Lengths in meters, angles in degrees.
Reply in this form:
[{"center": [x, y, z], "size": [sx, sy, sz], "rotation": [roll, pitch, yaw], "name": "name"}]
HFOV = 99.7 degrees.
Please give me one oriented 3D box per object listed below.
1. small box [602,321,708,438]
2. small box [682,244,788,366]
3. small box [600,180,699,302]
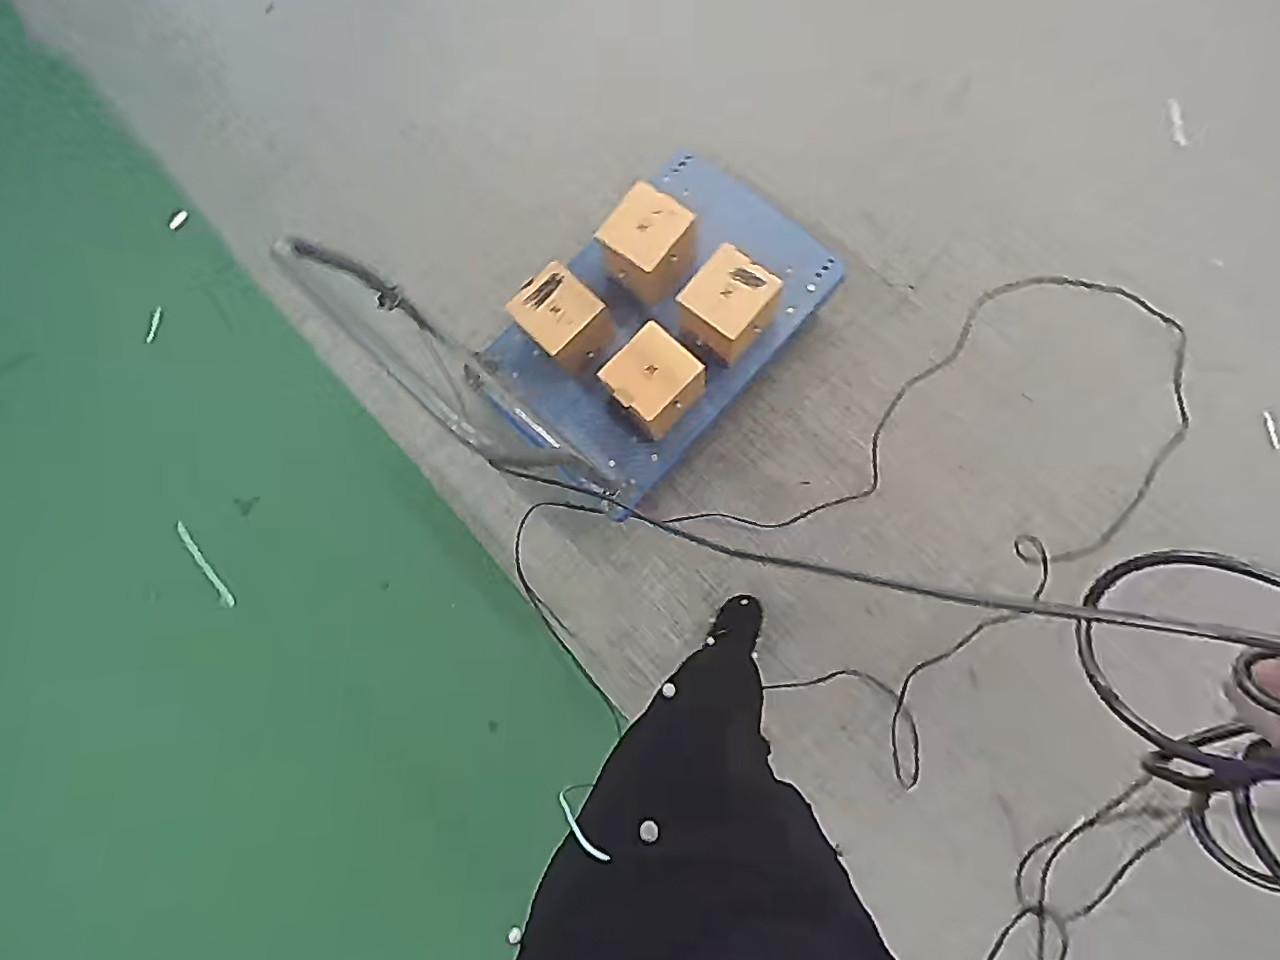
[{"center": [0.039, -0.226, 1.258], "size": [0.179, 0.176, 0.168], "rotation": [-45, 78, -2], "name": "small box"}, {"center": [0.216, -0.402, 1.265], "size": [0.168, 0.176, 0.179], "rotation": [41, 88, 12], "name": "small box"}, {"center": [0.032, -0.571, 1.316], "size": [0.168, 0.176, 0.179], "rotation": [39, 87, 11], "name": "small box"}]
